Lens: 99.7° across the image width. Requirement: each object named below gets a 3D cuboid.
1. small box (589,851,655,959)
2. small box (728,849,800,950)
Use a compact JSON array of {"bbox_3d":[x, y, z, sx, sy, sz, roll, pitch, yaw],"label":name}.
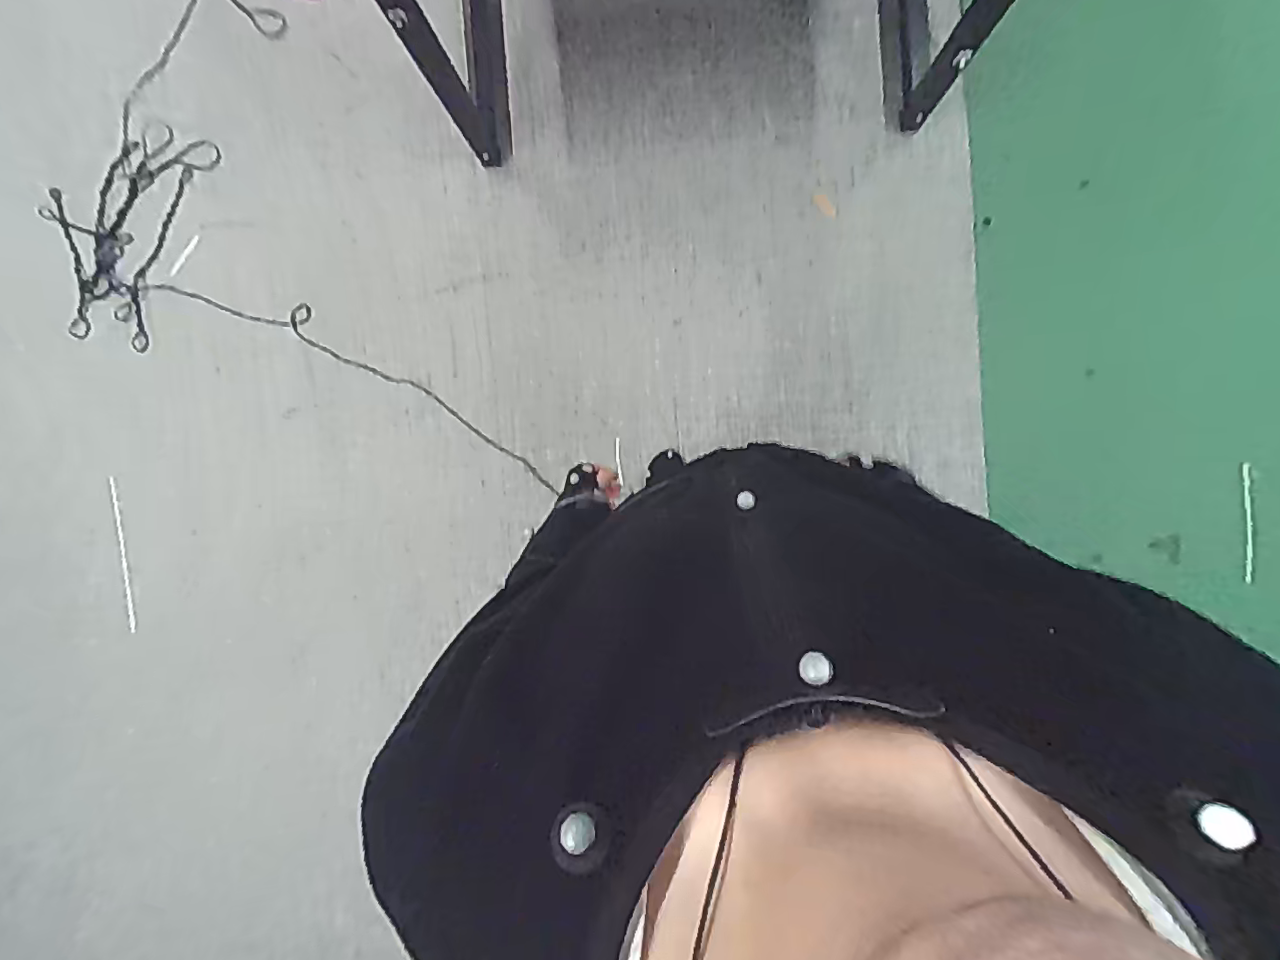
[{"bbox_3d":[-0.045,1.146,1.466,0.168,0.176,0.179,0,93,4],"label":"small box"},{"bbox_3d":[0.325,1.126,1.442,0.168,0.176,0.179,1,93,5],"label":"small box"}]
